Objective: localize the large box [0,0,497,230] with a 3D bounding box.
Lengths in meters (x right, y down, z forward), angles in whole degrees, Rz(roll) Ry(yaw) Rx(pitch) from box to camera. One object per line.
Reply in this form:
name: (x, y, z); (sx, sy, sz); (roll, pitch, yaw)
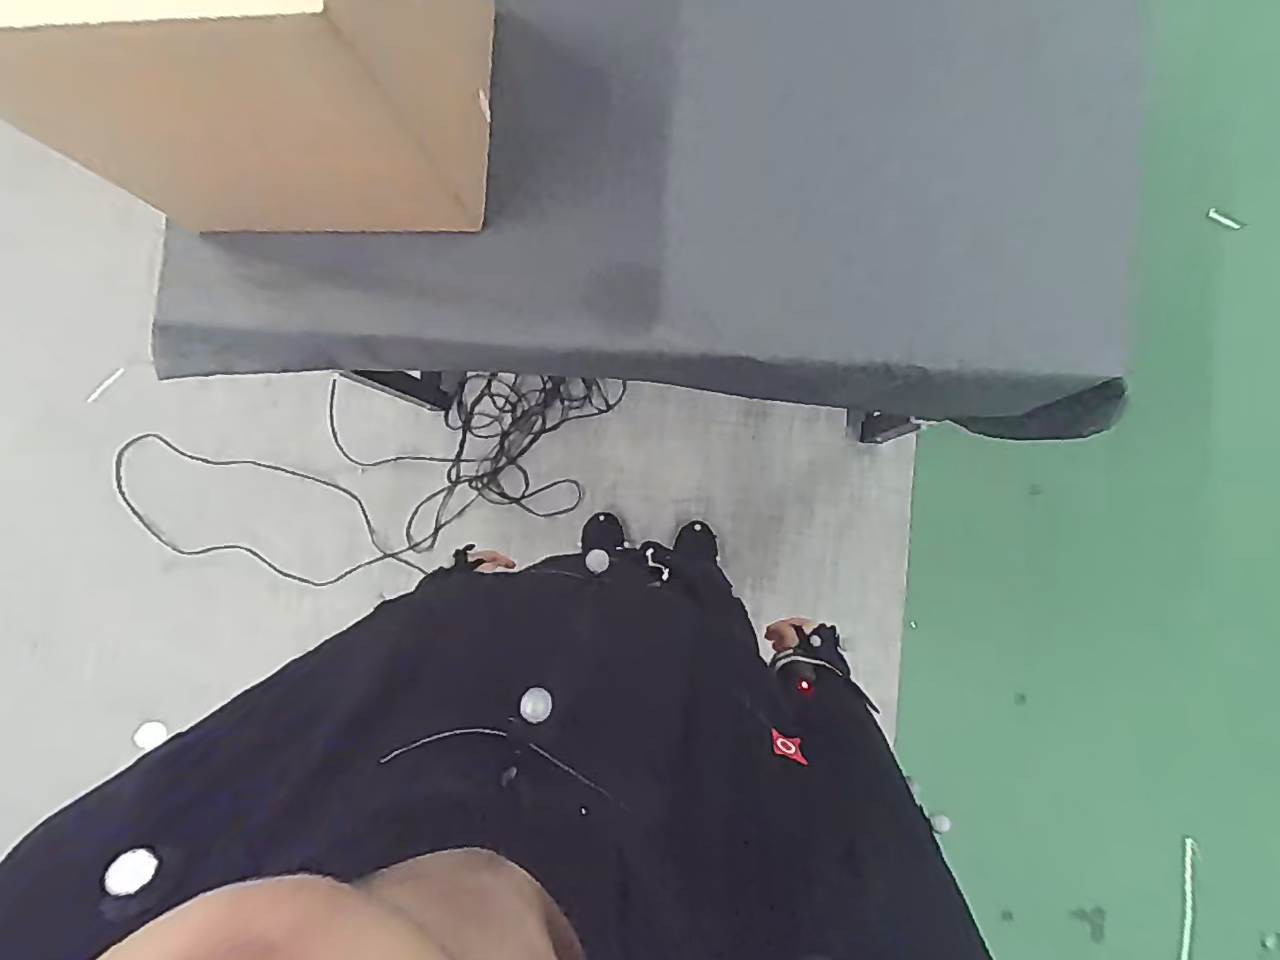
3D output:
large box: (-0.398, -0.489, 0.567); (0.408, 0.320, 0.320); (1, 87, 3)
